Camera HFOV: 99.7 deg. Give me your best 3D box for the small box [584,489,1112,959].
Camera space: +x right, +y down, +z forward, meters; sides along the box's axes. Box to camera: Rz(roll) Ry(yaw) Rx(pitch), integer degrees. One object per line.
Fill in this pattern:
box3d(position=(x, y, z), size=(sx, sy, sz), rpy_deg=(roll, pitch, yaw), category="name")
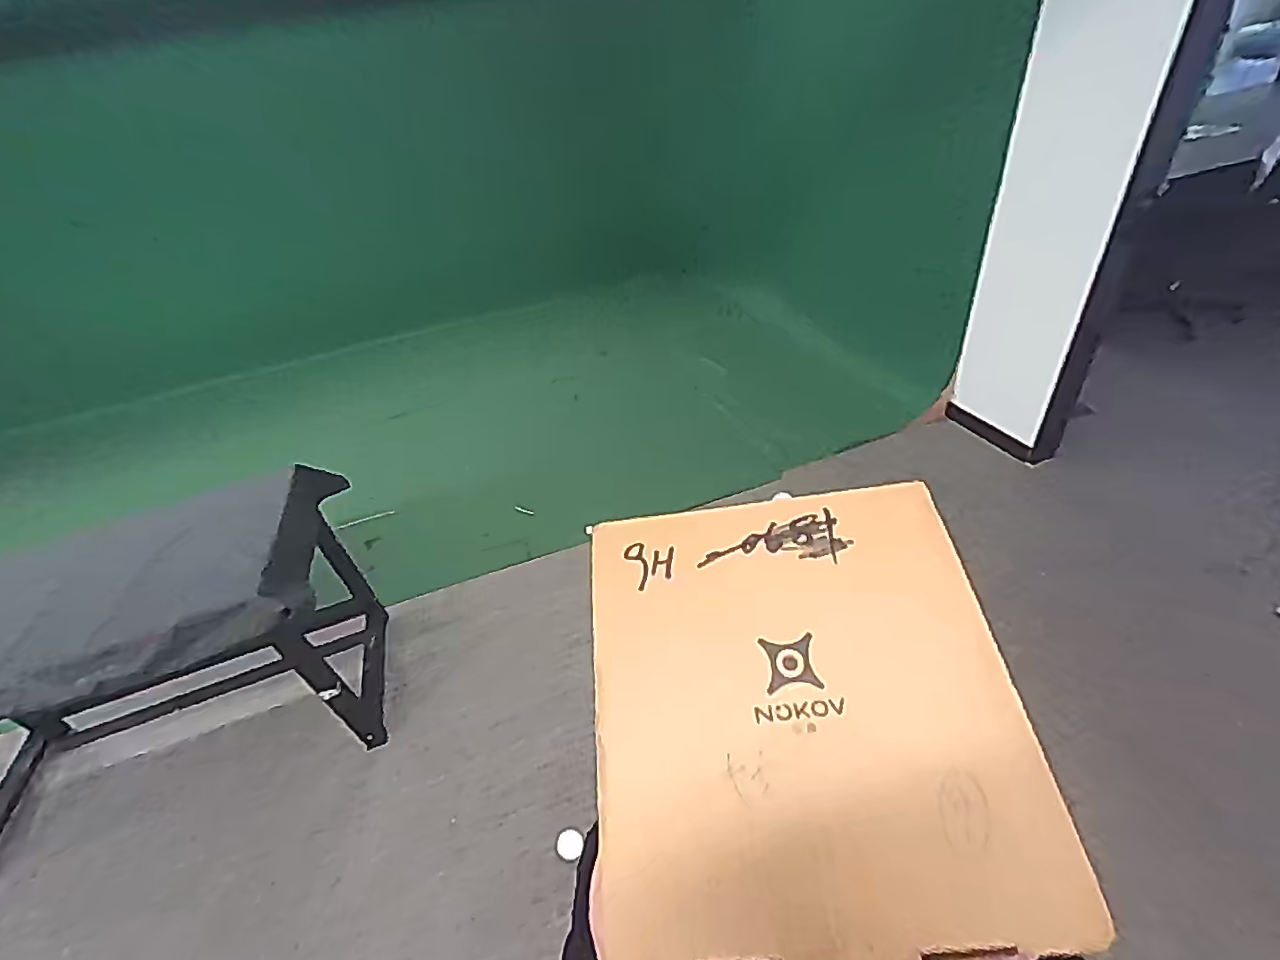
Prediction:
box3d(position=(0.069, 0.127, 0.280), size=(0.168, 0.176, 0.179), rpy_deg=(-7, 59, 3), category="small box")
